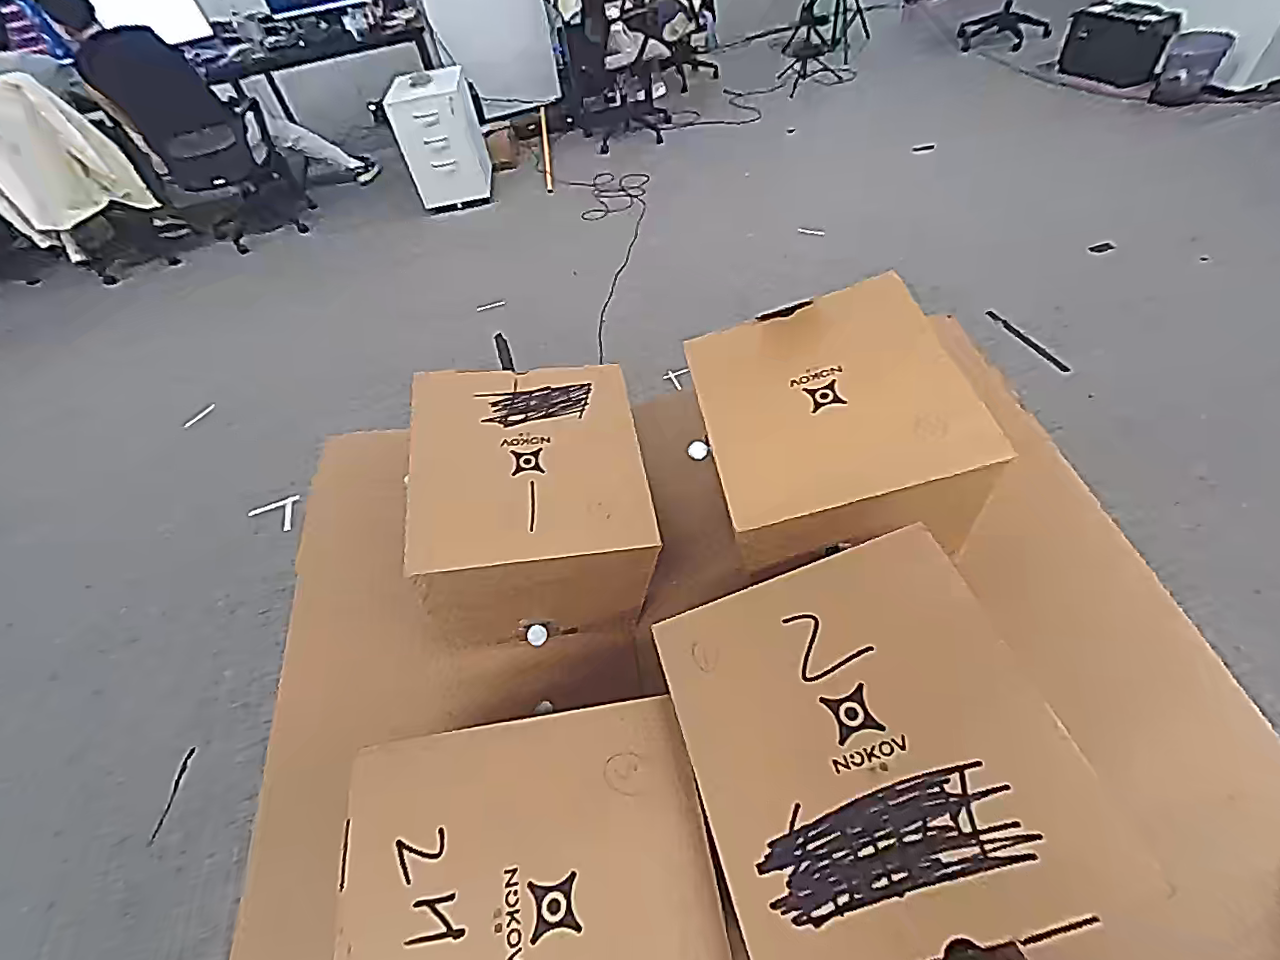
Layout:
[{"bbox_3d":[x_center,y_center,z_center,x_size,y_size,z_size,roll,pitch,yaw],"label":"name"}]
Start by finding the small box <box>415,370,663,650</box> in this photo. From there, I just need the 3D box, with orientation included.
[{"bbox_3d":[-0.086,0.027,0.468,0.168,0.176,0.179,-5,57,-10],"label":"small box"}]

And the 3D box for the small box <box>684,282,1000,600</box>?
[{"bbox_3d":[0.147,-0.017,0.437,0.168,0.176,0.179,-16,54,9],"label":"small box"}]
